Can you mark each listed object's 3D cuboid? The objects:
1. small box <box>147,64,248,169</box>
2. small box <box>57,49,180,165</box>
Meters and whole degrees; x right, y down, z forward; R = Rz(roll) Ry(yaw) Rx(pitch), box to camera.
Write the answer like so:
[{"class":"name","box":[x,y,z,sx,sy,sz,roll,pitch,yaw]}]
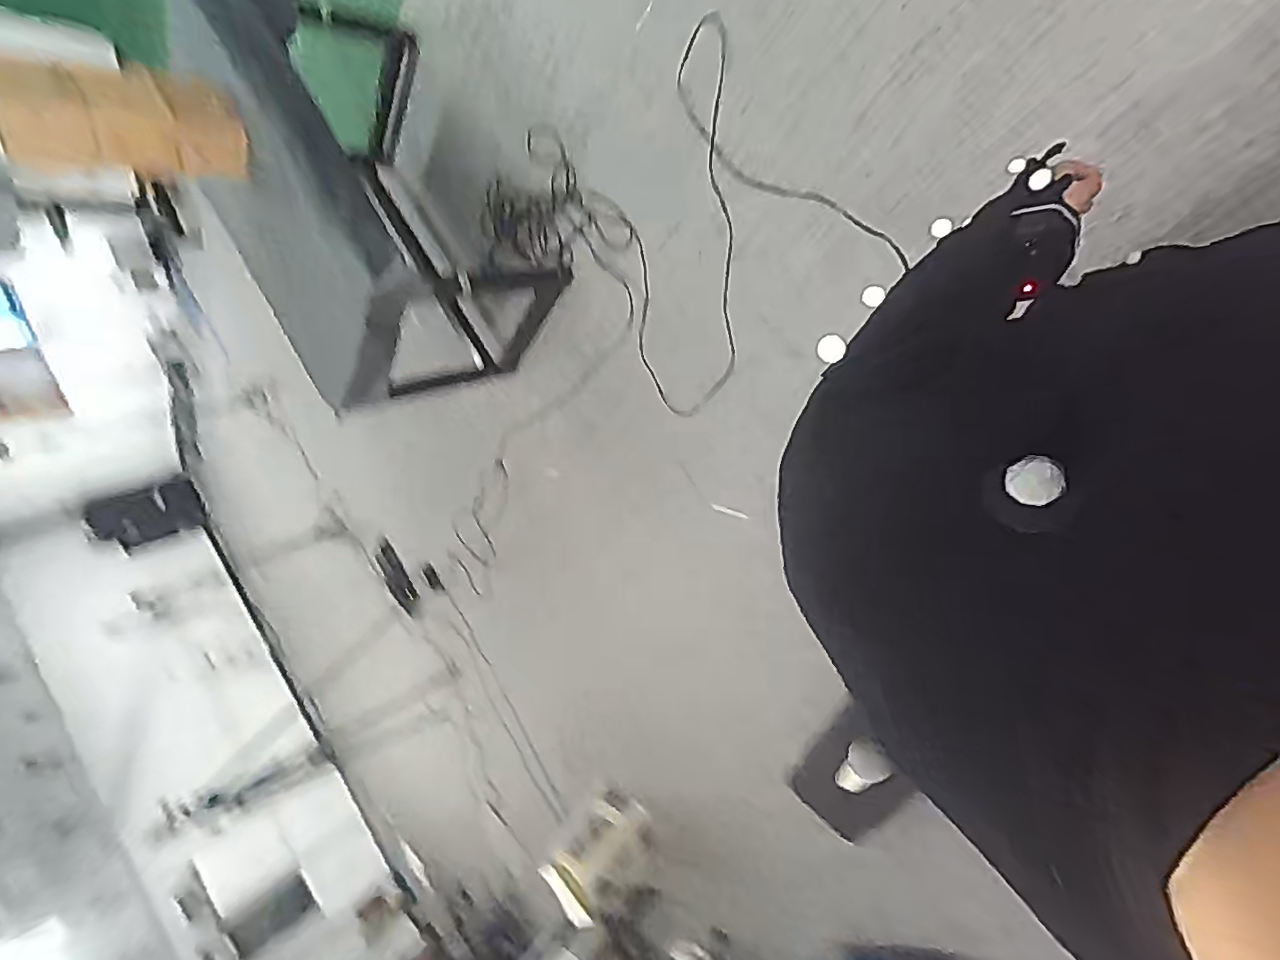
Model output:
[{"class":"small box","box":[-1.217,-0.992,1.495,0.179,0.176,0.168,-38,83,45]},{"class":"small box","box":[-1.315,-0.938,1.377,0.168,0.176,0.179,56,137,5]}]
